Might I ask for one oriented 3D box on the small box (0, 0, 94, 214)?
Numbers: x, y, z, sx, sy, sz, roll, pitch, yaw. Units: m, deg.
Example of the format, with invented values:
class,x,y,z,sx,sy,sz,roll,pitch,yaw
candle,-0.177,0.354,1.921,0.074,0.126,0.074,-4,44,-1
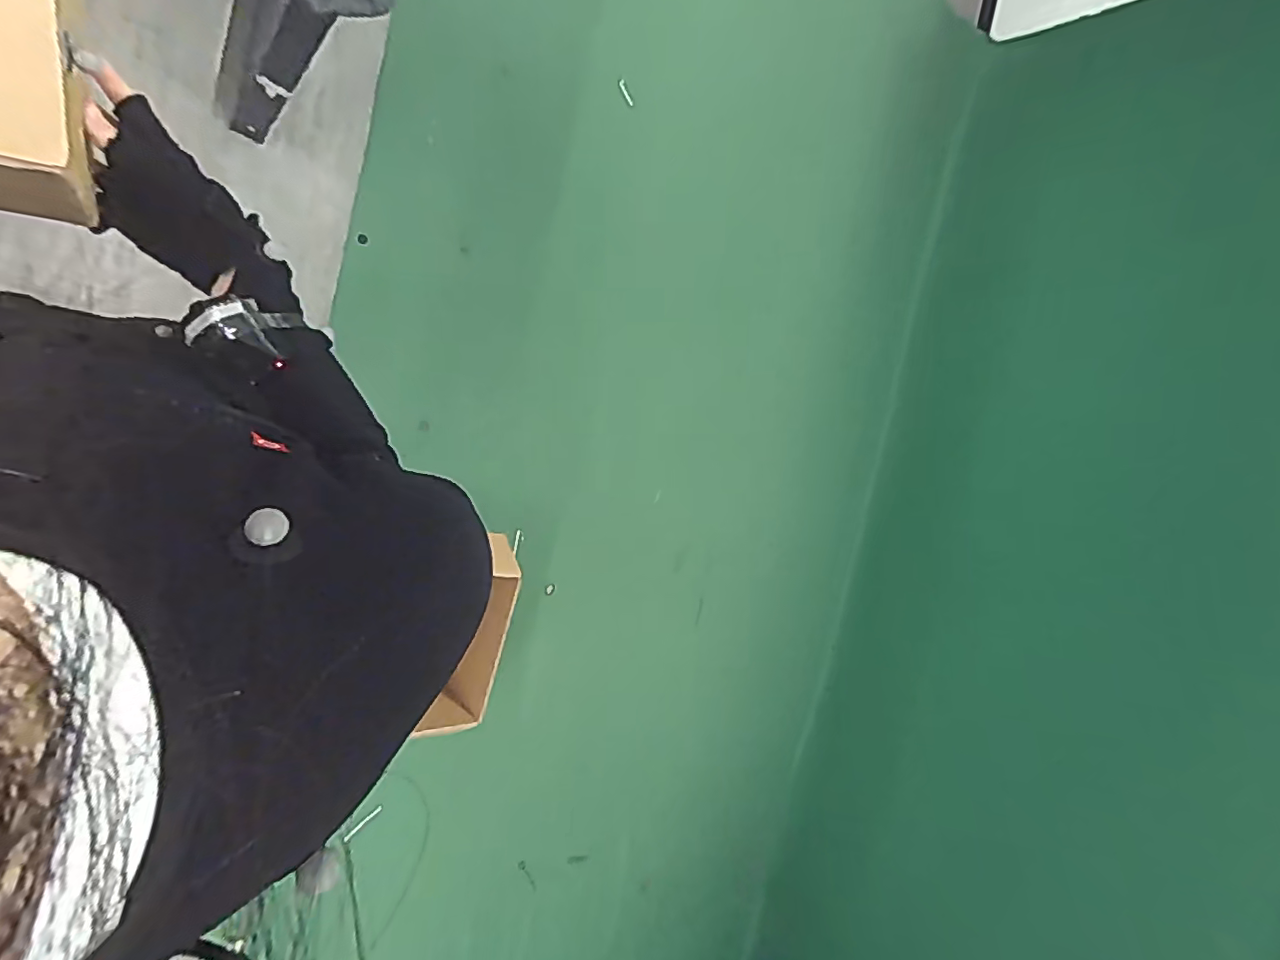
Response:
class,x,y,z,sx,sy,sz,roll,pitch,yaw
small box,-0.417,-0.261,0.286,0.168,0.176,0.179,-4,103,-42
